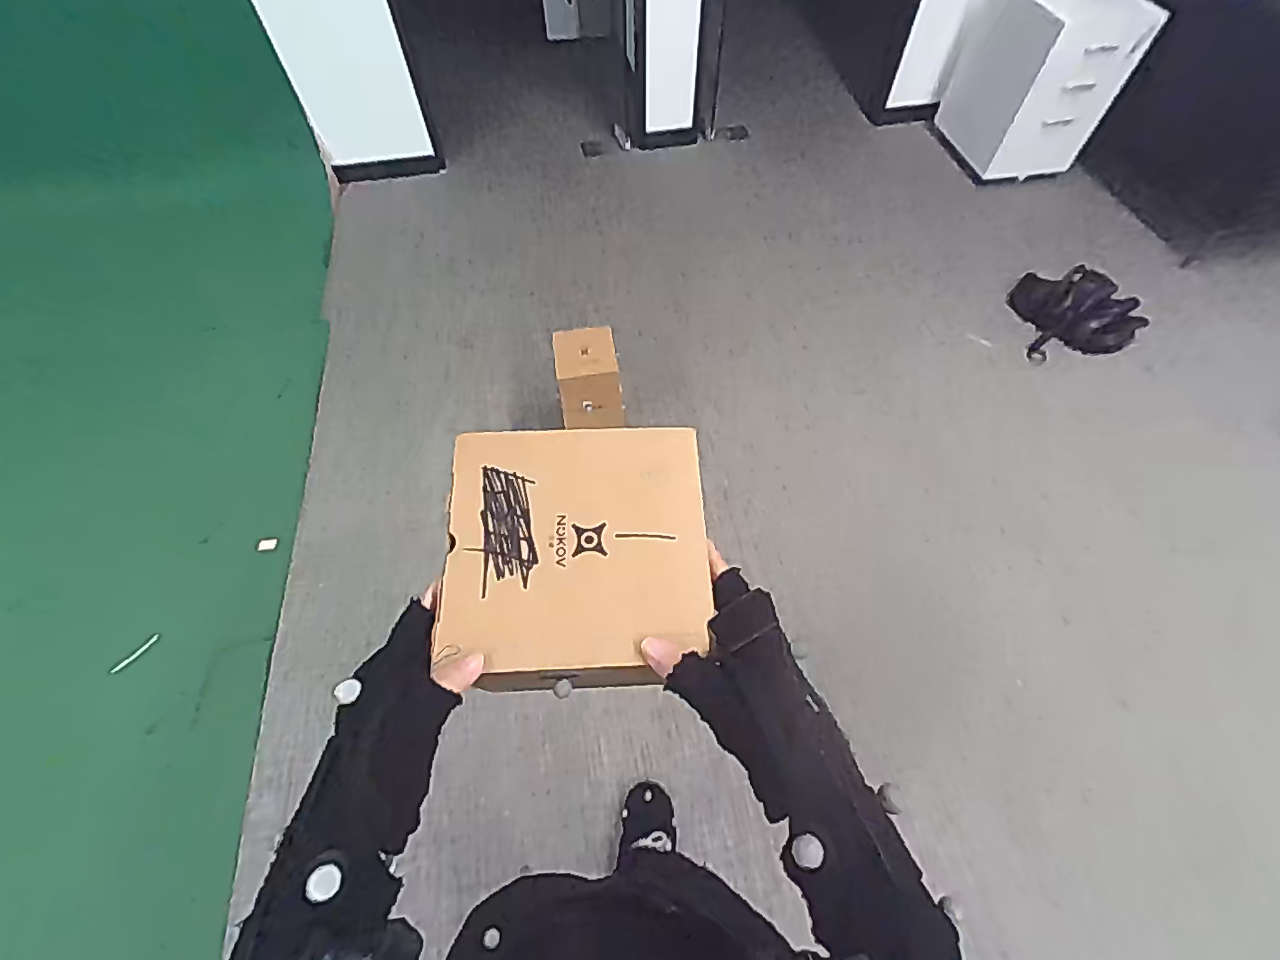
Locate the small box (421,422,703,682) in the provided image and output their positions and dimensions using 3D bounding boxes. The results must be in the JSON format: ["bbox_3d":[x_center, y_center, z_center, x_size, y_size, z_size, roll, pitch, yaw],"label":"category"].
[{"bbox_3d":[-0.050,0.067,0.433,0.179,0.176,0.168,-2,66,-2],"label":"small box"}]

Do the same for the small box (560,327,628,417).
[{"bbox_3d":[-0.129,-0.304,1.535,0.168,0.176,0.179,-9,60,-2],"label":"small box"}]

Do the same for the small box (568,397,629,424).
[{"bbox_3d":[-0.126,-0.216,1.673,0.179,0.176,0.168,-6,58,-3],"label":"small box"}]
